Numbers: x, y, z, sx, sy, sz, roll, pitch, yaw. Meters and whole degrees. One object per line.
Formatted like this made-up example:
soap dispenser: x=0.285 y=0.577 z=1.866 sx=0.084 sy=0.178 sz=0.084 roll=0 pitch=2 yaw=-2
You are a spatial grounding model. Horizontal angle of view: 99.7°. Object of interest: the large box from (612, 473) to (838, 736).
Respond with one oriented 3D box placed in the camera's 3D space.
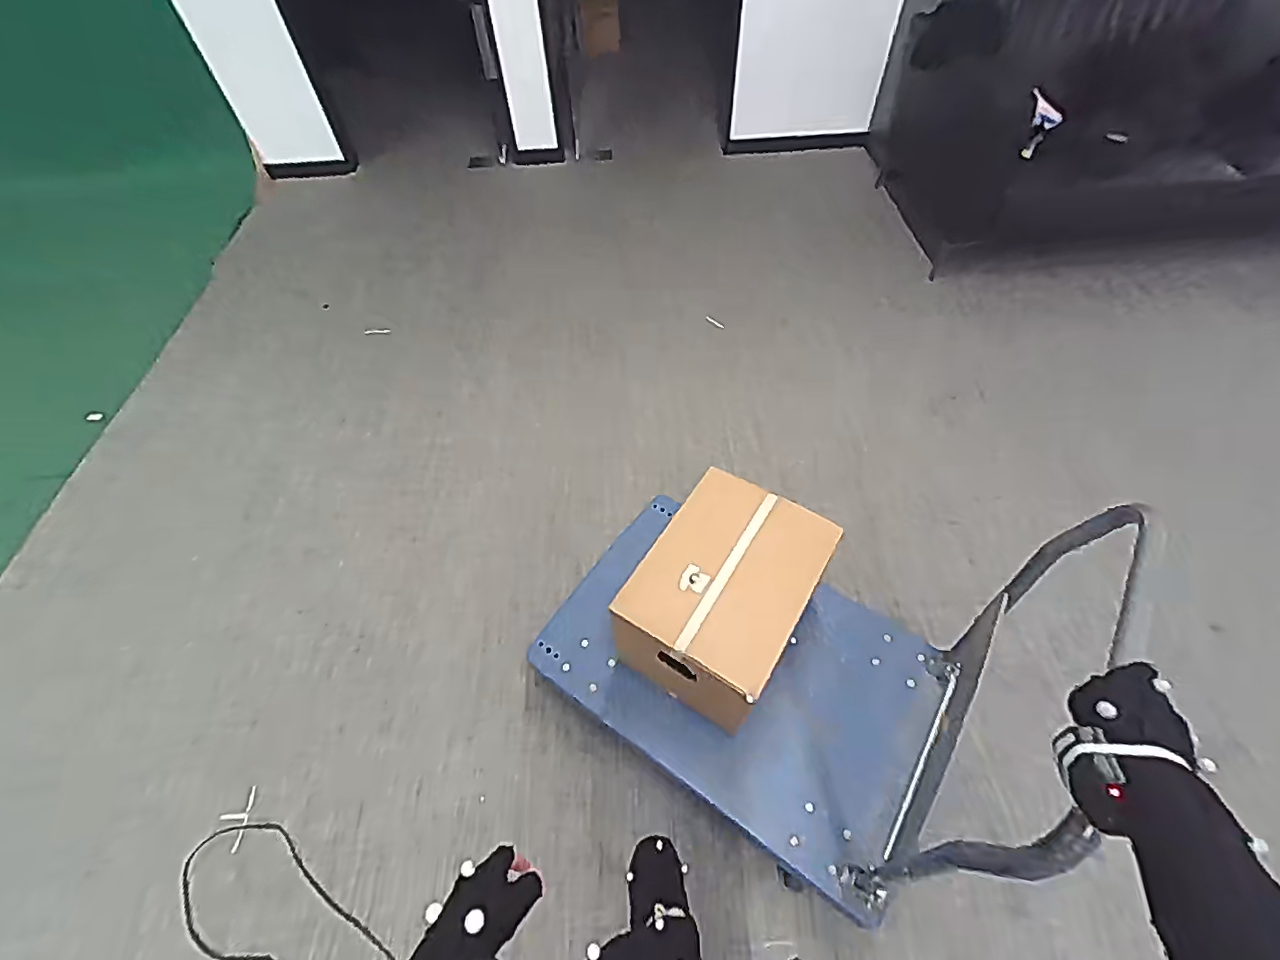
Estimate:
large box: x=0.182 y=0.269 z=1.186 sx=0.320 sy=0.320 sz=0.408 roll=27 pitch=60 yaw=21
